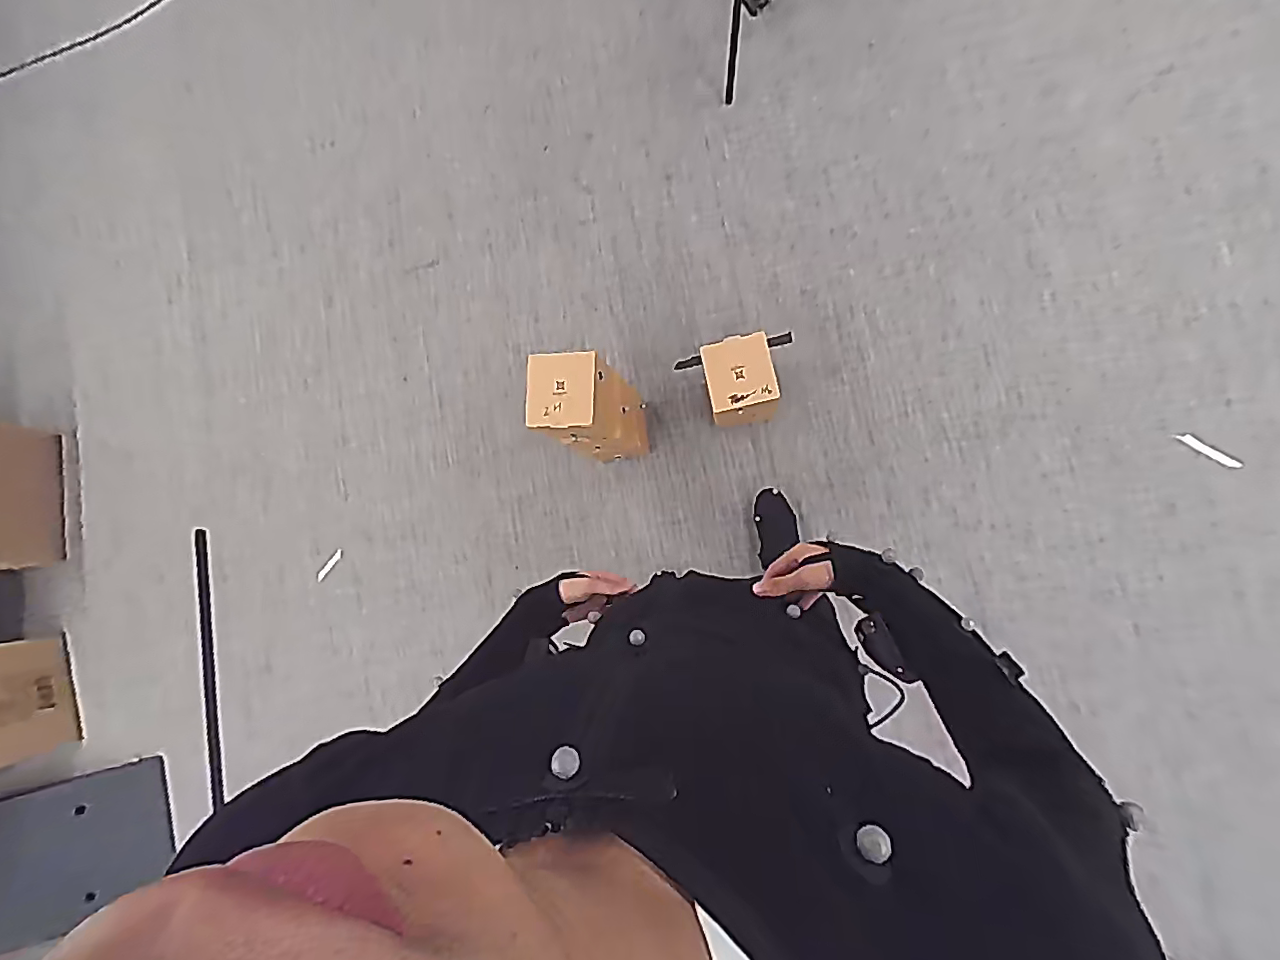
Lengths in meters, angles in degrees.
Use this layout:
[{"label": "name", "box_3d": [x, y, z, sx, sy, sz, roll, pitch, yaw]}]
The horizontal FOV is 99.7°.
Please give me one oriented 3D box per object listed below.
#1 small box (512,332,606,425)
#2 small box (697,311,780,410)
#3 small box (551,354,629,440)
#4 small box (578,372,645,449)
[{"label": "small box", "box_3d": [-0.181, -0.227, 1.249, 0.168, 0.176, 0.179, 0, 86, 12]}, {"label": "small box", "box_3d": [0.241, -0.288, 1.337, 0.168, 0.176, 0.179, -12, 83, 9]}, {"label": "small box", "box_3d": [-0.130, -0.209, 1.405, 0.168, 0.176, 0.179, -6, 85, 12]}, {"label": "small box", "box_3d": [-0.088, -0.195, 1.561, 0.168, 0.176, 0.179, -9, 84, 11]}]
